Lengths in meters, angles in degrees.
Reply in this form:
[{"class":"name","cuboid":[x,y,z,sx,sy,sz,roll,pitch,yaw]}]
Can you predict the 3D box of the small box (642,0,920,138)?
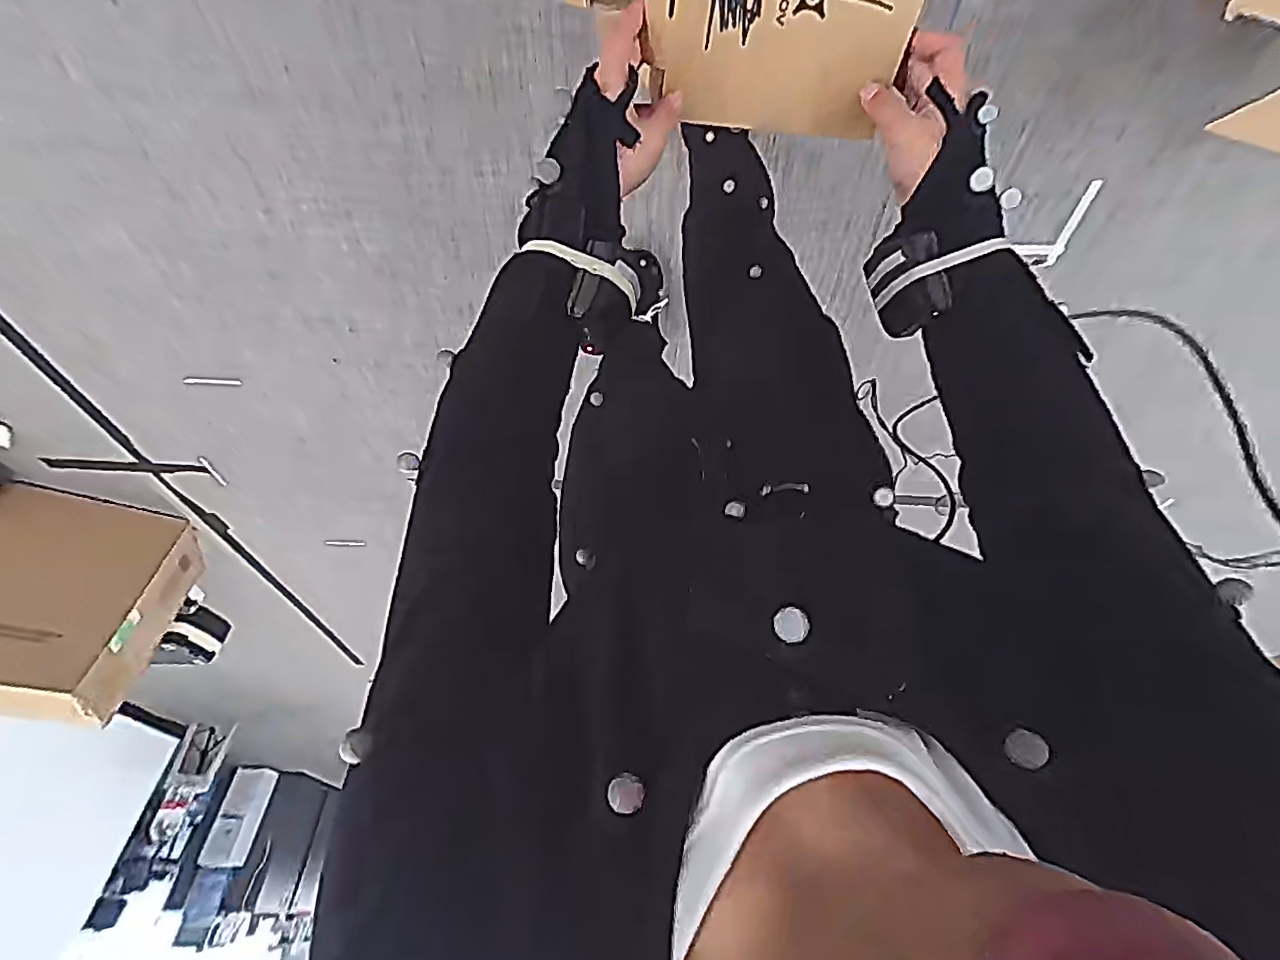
[{"class":"small box","cuboid":[0.100,-0.390,0.414,0.179,0.176,0.168,0,139,-9]}]
